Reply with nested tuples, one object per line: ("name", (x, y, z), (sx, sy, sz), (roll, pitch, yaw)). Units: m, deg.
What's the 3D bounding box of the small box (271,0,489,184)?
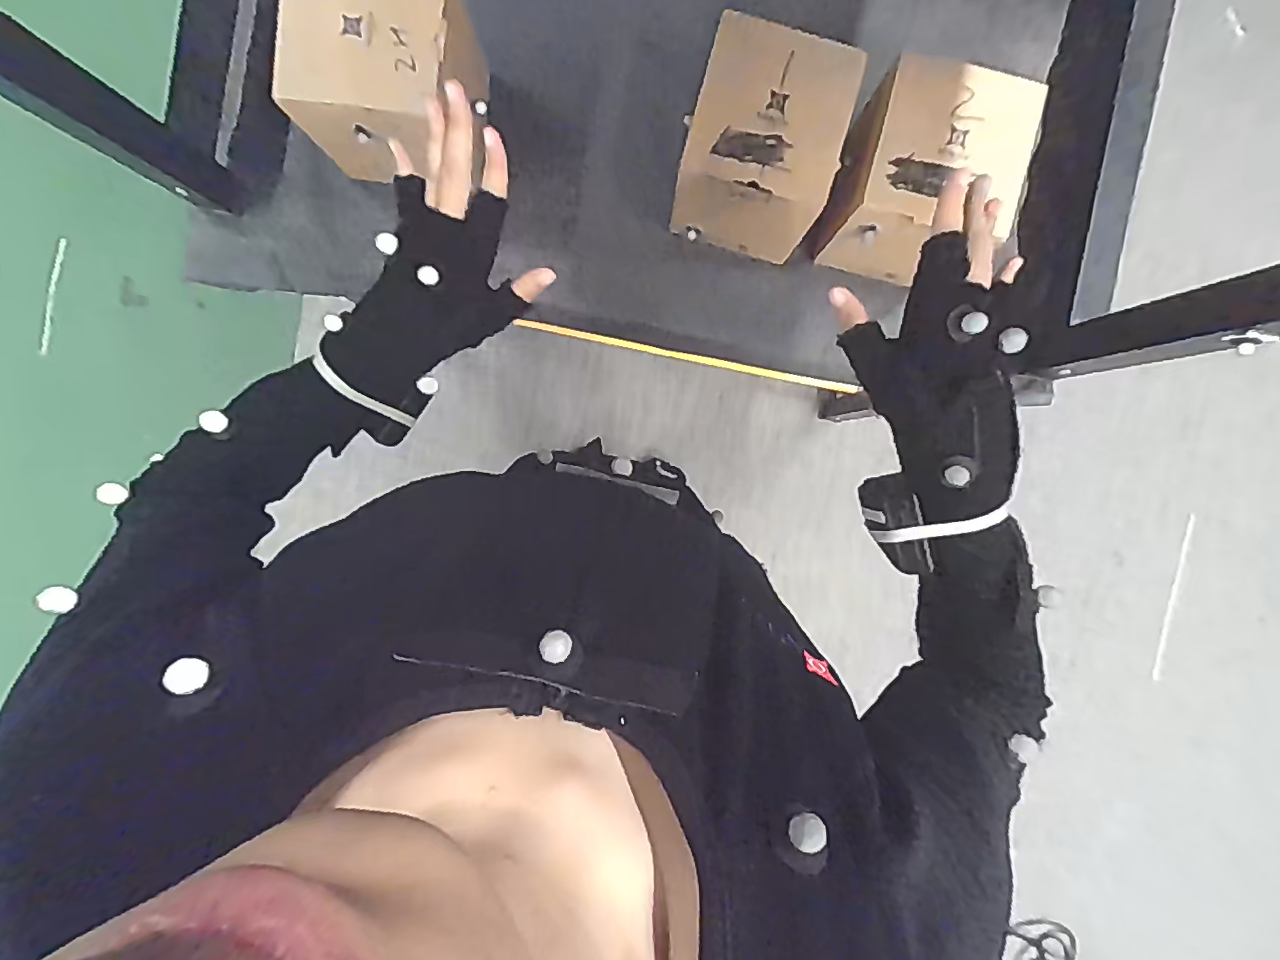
("small box", (-0.297, -0.484, 0.650), (0.179, 0.176, 0.168), (6, 93, -2))
